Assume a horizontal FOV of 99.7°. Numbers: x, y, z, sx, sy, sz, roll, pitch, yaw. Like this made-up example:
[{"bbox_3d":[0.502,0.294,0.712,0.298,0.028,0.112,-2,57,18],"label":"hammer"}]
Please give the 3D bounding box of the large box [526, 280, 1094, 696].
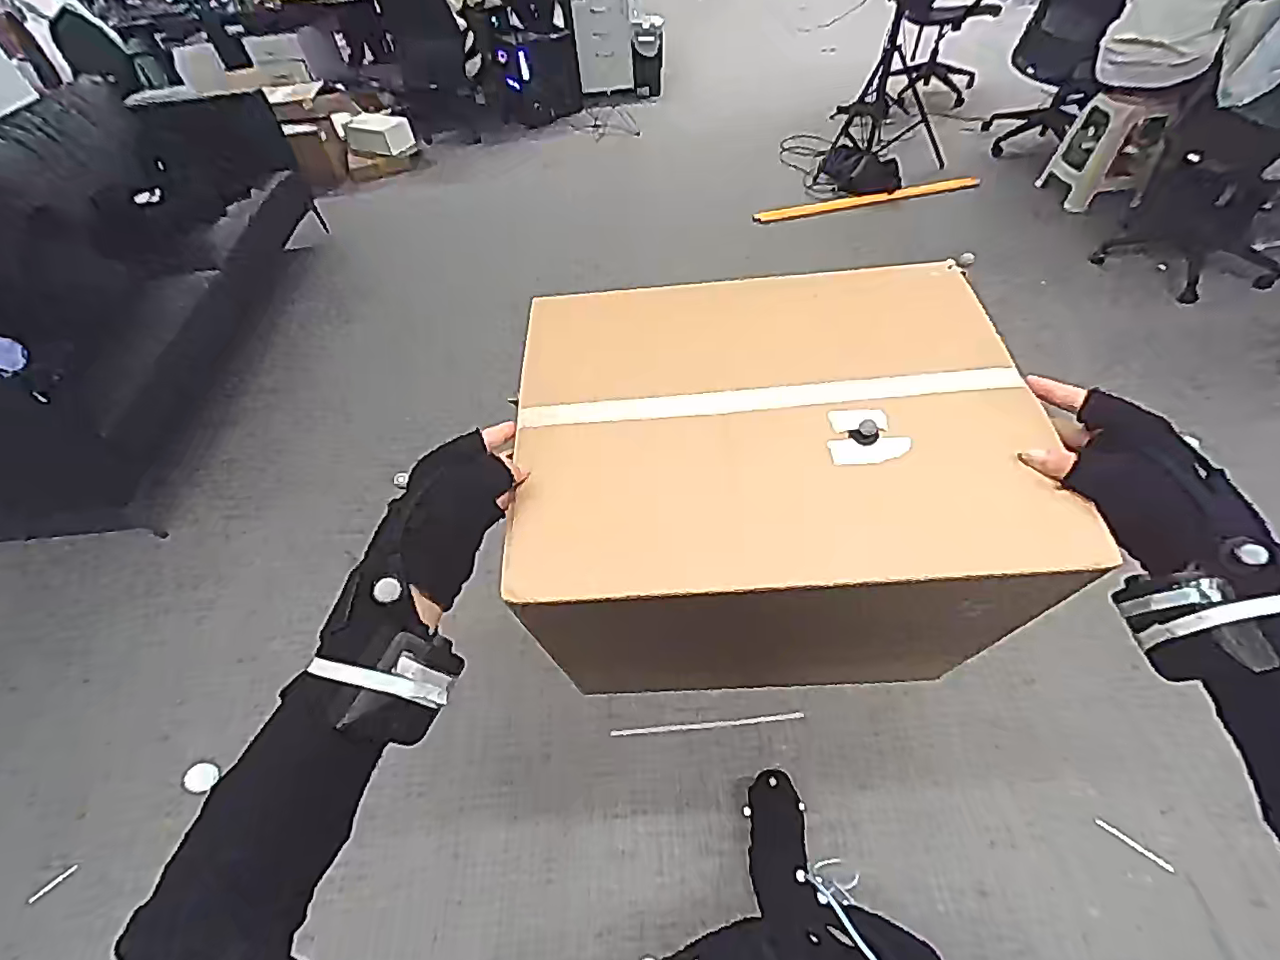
[{"bbox_3d":[0.117,0.026,0.579,0.408,0.320,0.320,-4,57,2],"label":"large box"}]
